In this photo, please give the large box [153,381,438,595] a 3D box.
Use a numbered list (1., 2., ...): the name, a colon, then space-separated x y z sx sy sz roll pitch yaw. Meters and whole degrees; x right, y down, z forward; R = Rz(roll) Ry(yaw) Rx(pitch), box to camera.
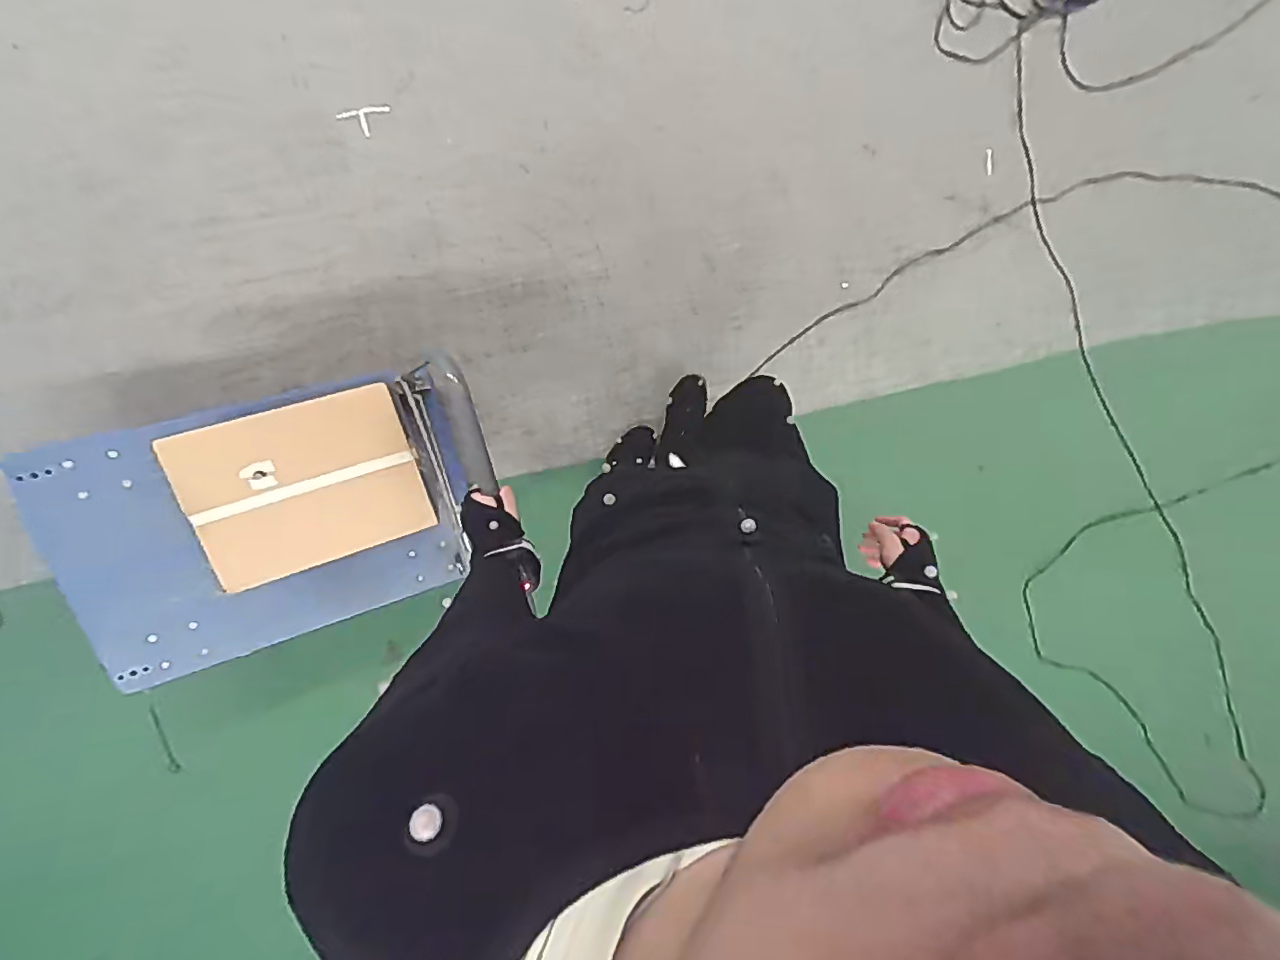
1. large box: -0.695 -0.009 1.184 0.408 0.320 0.320 -20 103 -17
